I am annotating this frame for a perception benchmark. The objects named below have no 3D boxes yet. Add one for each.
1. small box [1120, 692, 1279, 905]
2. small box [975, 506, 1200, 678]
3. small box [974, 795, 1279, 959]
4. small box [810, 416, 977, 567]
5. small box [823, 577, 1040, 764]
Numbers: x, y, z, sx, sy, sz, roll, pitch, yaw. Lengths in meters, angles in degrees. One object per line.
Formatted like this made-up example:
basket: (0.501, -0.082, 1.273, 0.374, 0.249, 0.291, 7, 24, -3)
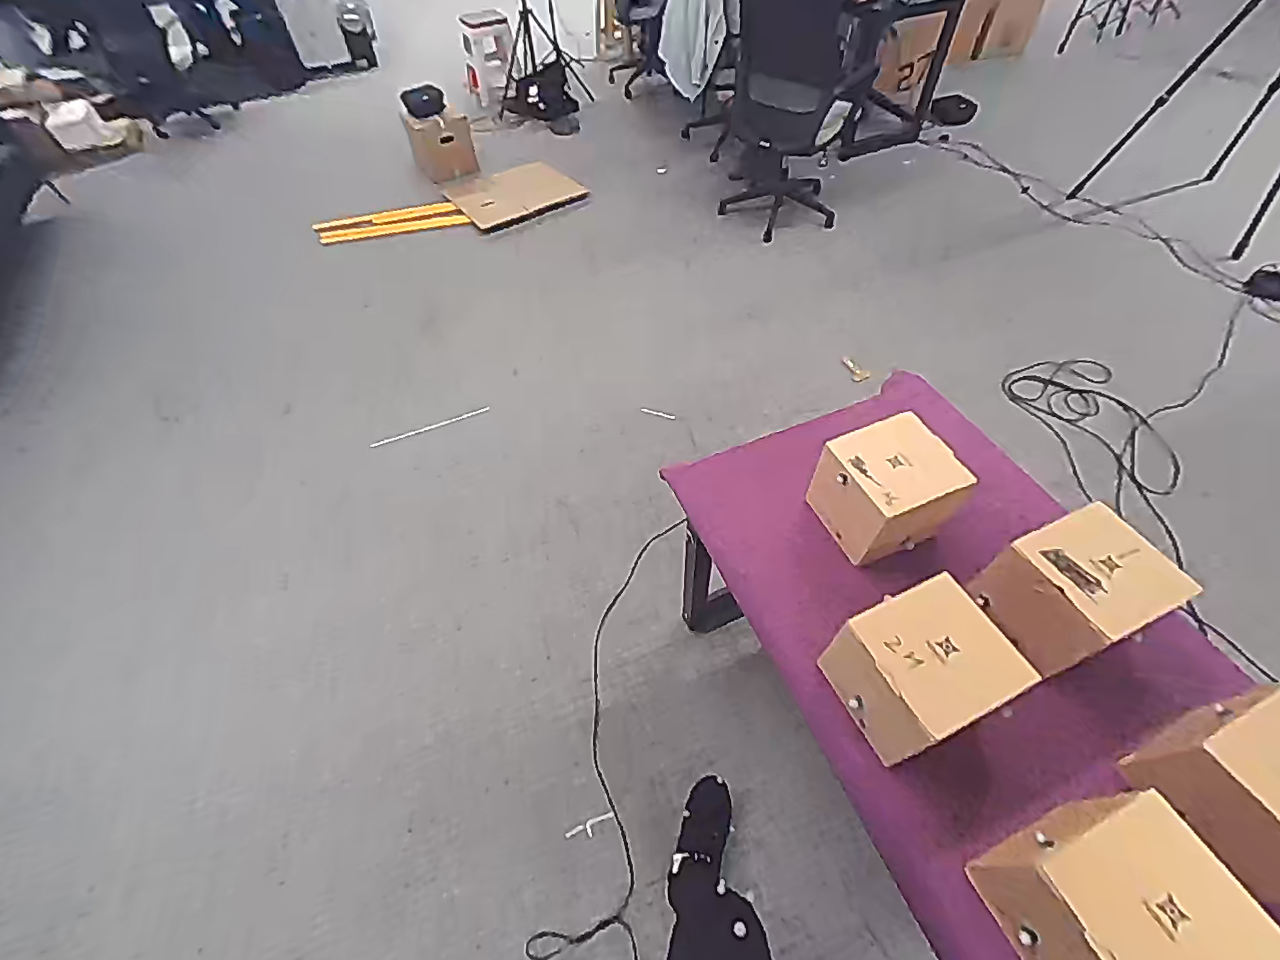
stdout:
small box: (0.760, 0.383, 0.660, 0.179, 0.176, 0.168, -22, 54, -12)
small box: (0.650, 0.173, 0.818, 0.179, 0.176, 0.168, -20, 55, -13)
small box: (0.522, 0.480, 0.598, 0.179, 0.176, 0.168, -21, 55, -13)
small box: (0.424, 0.023, 0.937, 0.179, 0.176, 0.168, -19, 53, -12)
small box: (0.388, 0.269, 0.757, 0.179, 0.176, 0.168, -20, 55, -13)
